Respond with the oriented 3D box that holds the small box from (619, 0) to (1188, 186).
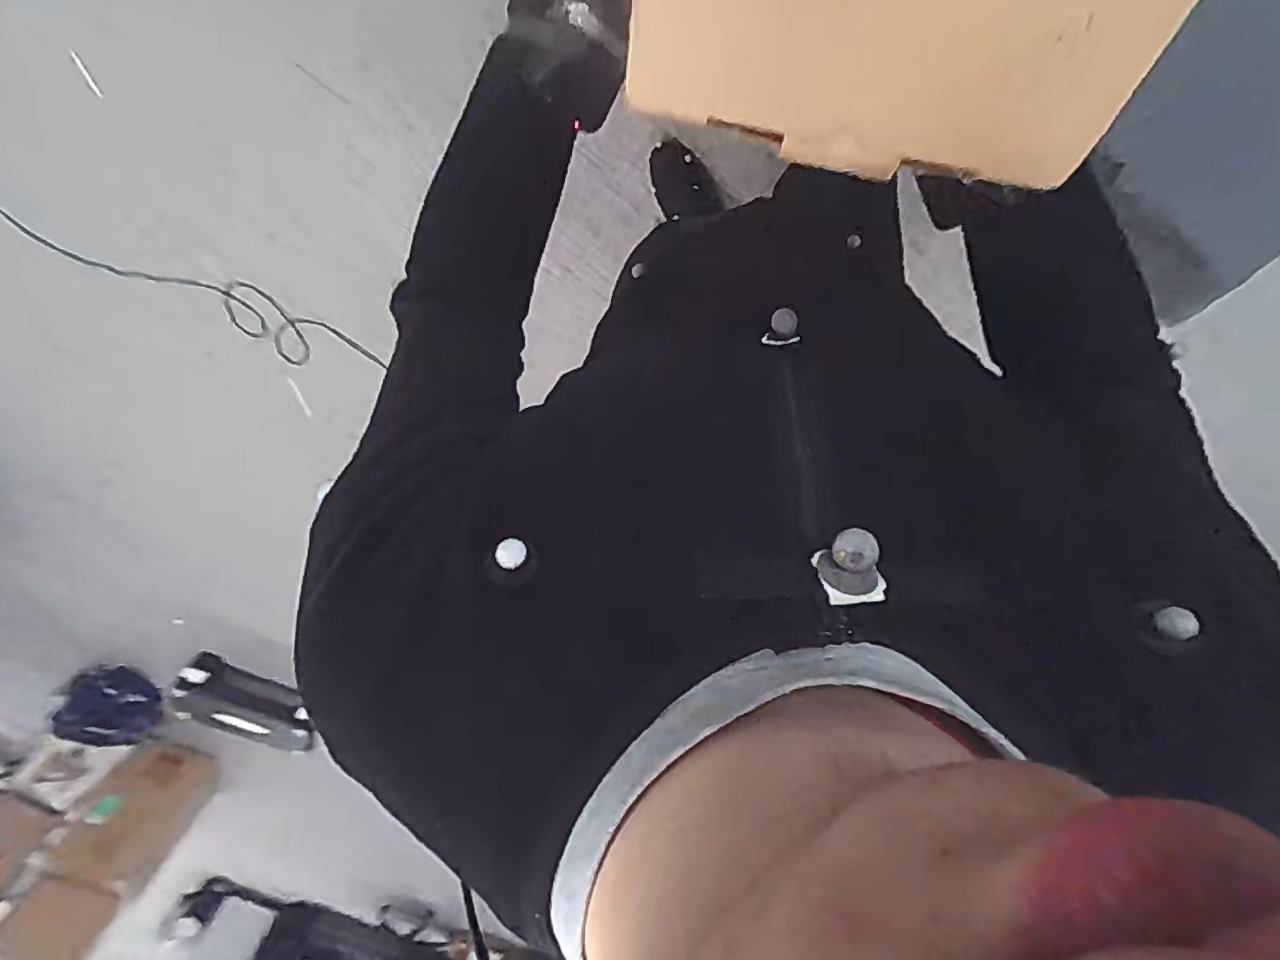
[{"bbox_3d":[0.094,-0.237,0.176,0.168,0.176,0.179,10,143,-2],"label":"small box"}]
